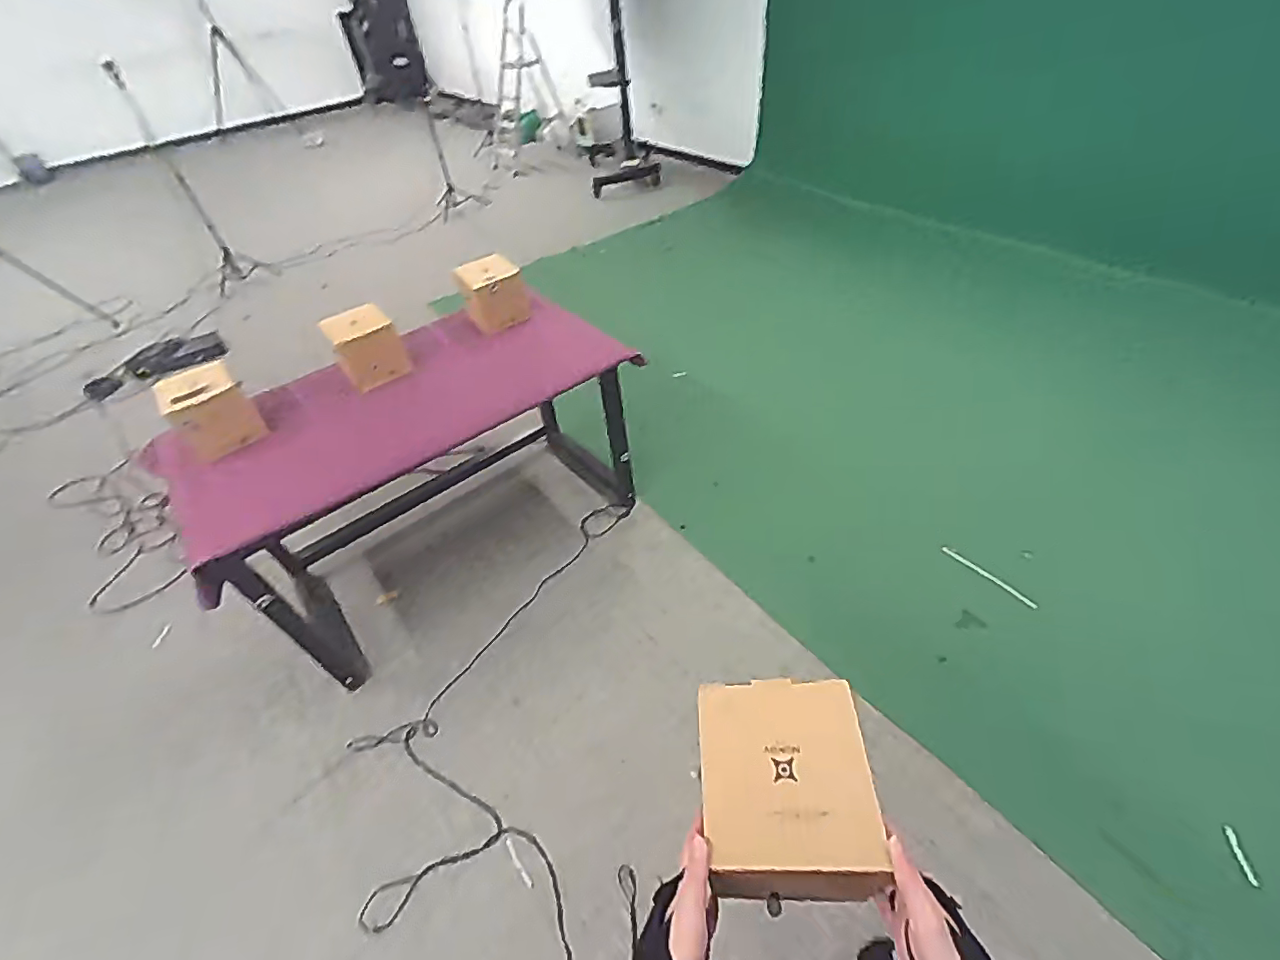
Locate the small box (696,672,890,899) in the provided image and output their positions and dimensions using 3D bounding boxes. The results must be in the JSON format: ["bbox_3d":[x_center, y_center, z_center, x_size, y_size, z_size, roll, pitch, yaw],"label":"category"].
[{"bbox_3d":[0.148,0.330,0.588,0.168,0.176,0.179,-4,45,7],"label":"small box"}]

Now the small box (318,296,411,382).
[{"bbox_3d":[-0.815,-0.418,1.608,0.168,0.176,0.179,-33,53,-24],"label":"small box"}]

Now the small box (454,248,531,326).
[{"bbox_3d":[-0.482,-0.632,1.776,0.168,0.176,0.179,-31,52,-20],"label":"small box"}]
